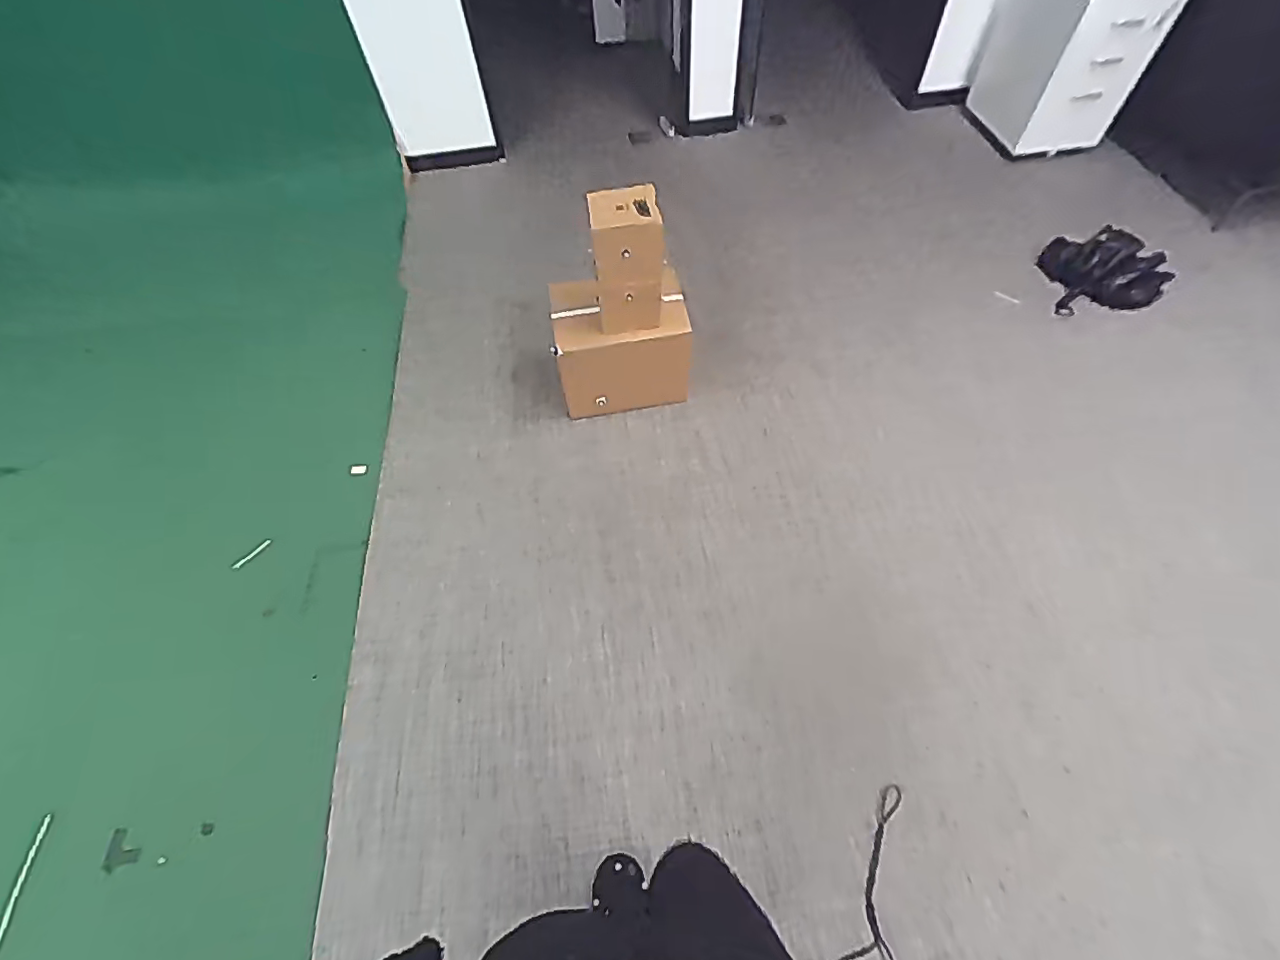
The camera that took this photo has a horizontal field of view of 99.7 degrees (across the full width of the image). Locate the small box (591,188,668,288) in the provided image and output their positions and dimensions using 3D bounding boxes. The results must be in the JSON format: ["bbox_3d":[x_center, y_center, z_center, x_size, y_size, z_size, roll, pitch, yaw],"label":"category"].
[{"bbox_3d":[-0.029,-0.633,1.423,0.179,0.176,0.168,-9,59,-3],"label":"small box"}]

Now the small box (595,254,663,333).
[{"bbox_3d":[-0.029,-0.543,1.561,0.179,0.176,0.168,-8,59,-3],"label":"small box"}]
